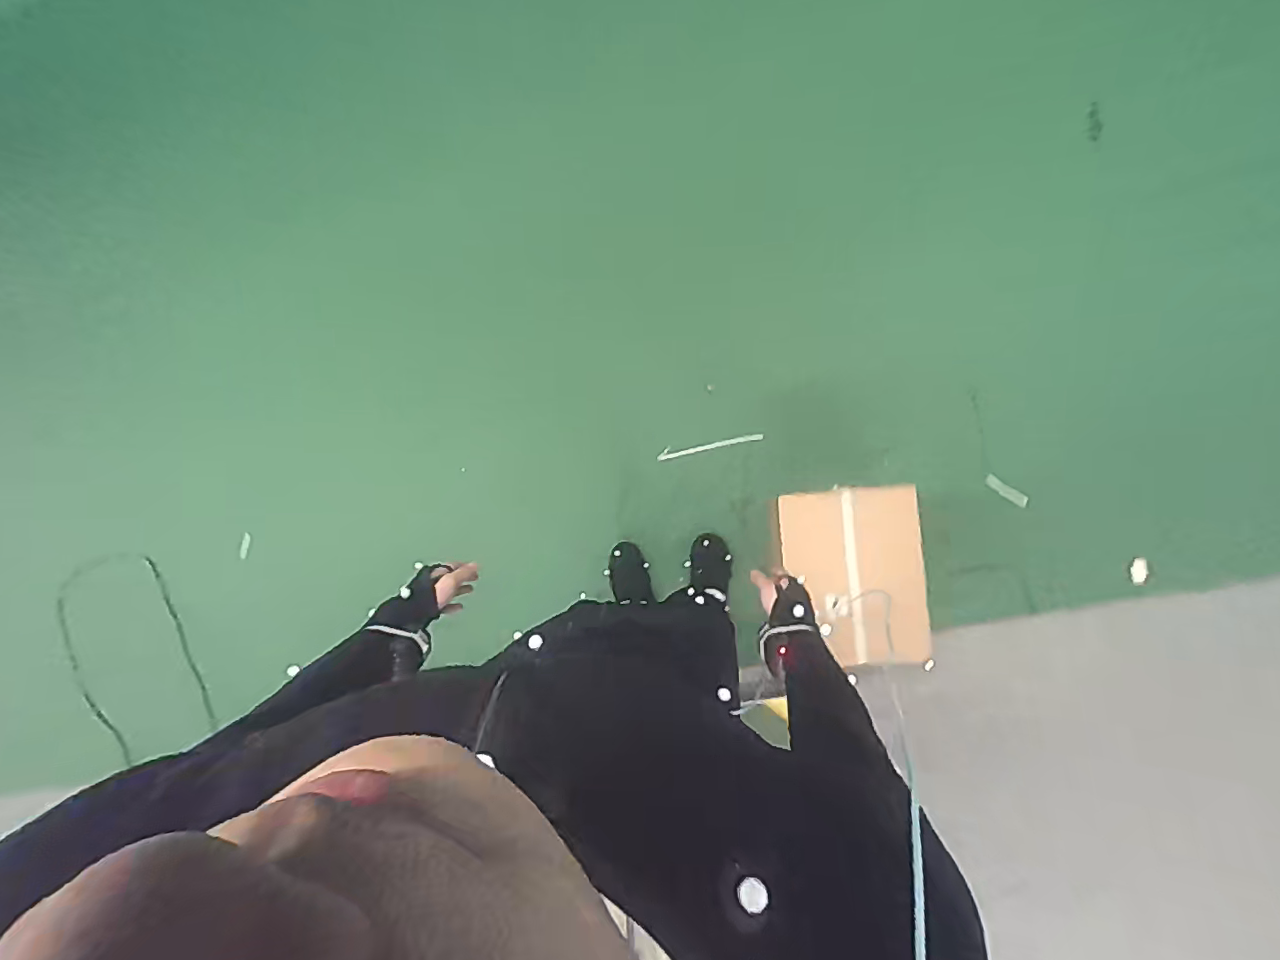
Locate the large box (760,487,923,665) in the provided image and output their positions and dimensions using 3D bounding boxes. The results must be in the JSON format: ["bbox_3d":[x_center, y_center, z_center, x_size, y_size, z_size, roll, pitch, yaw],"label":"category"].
[{"bbox_3d":[0.500,0.234,1.415,0.320,0.320,0.408,-4,87,8],"label":"large box"}]
